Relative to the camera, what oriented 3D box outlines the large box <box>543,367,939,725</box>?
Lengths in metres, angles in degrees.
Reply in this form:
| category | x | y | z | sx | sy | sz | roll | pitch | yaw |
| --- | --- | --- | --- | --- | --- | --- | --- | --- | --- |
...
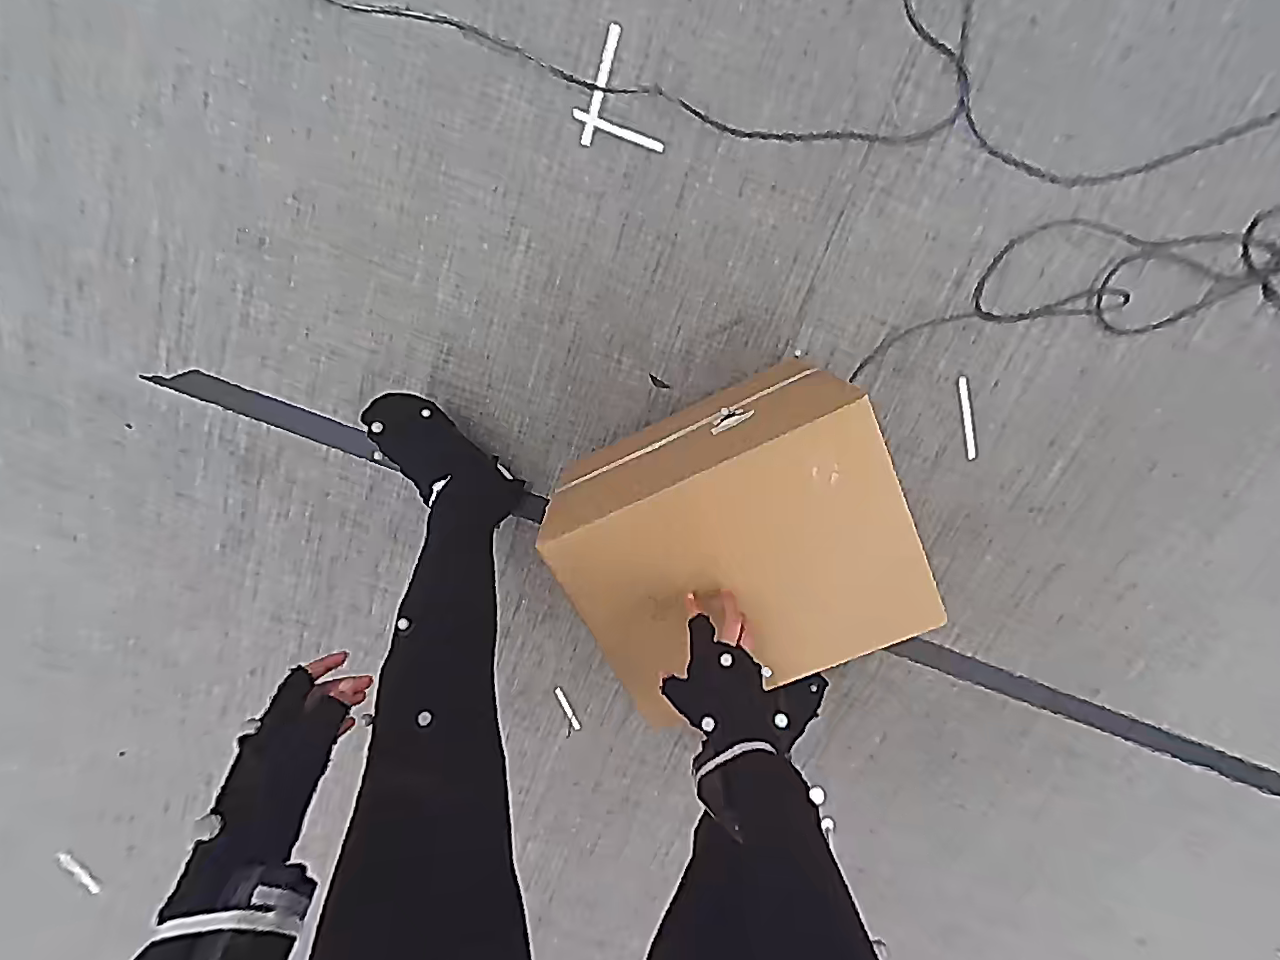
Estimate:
| category | x | y | z | sx | sy | sz | roll | pitch | yaw |
| --- | --- | --- | --- | --- | --- | --- | --- | --- | --- |
| large box | 0.130 | 0.078 | 0.787 | 0.408 | 0.320 | 0.320 | -24 | 107 | 11 |
